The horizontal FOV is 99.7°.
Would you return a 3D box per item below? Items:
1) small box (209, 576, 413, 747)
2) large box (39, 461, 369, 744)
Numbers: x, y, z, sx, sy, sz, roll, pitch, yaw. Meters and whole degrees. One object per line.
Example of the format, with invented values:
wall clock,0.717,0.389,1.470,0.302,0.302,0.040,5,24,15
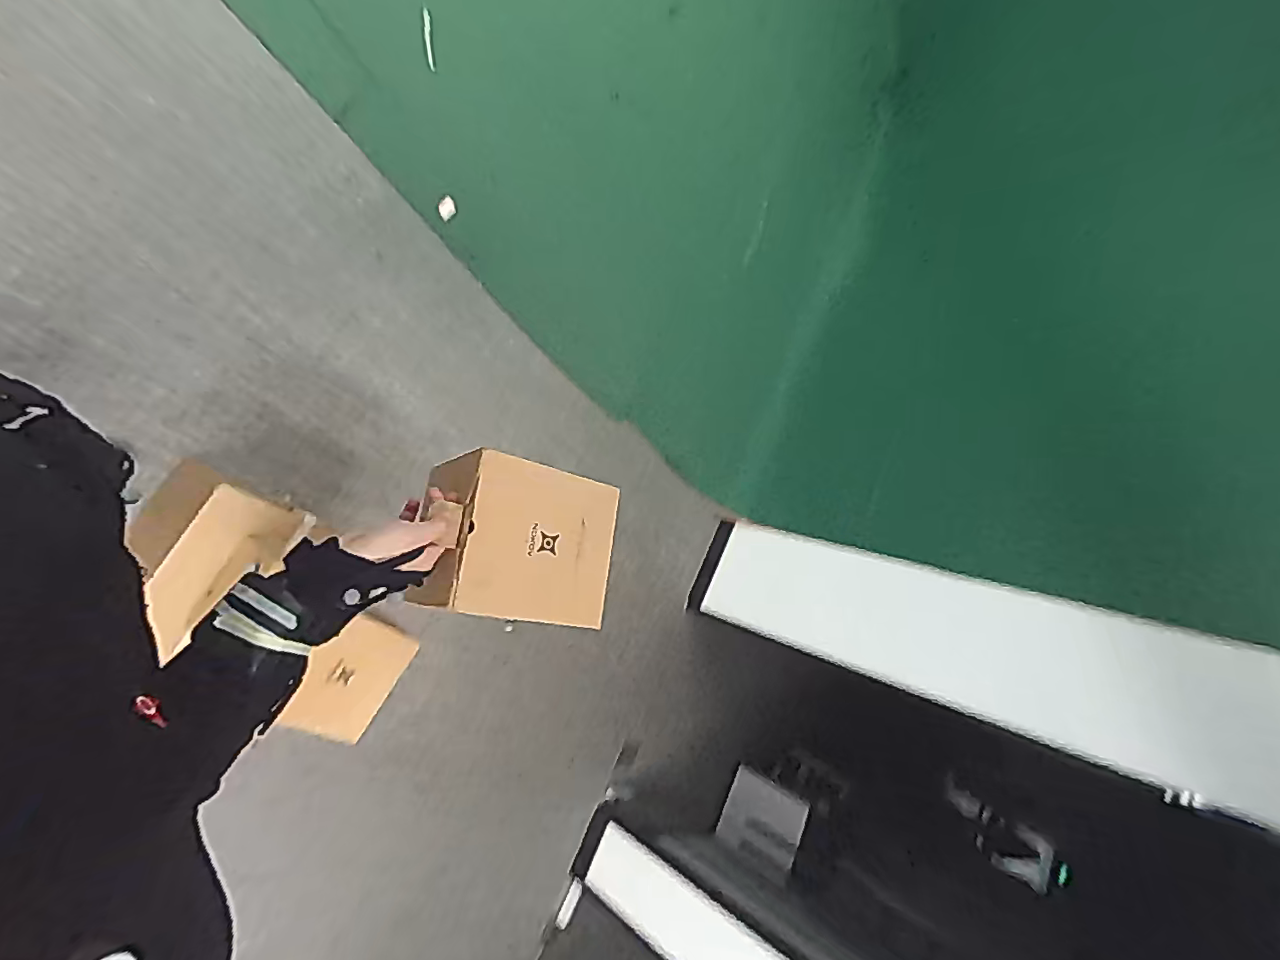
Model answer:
small box,-0.491,0.266,0.813,0.168,0.176,0.179,-60,137,-20
large box,-0.825,0.225,1.047,0.320,0.320,0.408,43,68,-45
